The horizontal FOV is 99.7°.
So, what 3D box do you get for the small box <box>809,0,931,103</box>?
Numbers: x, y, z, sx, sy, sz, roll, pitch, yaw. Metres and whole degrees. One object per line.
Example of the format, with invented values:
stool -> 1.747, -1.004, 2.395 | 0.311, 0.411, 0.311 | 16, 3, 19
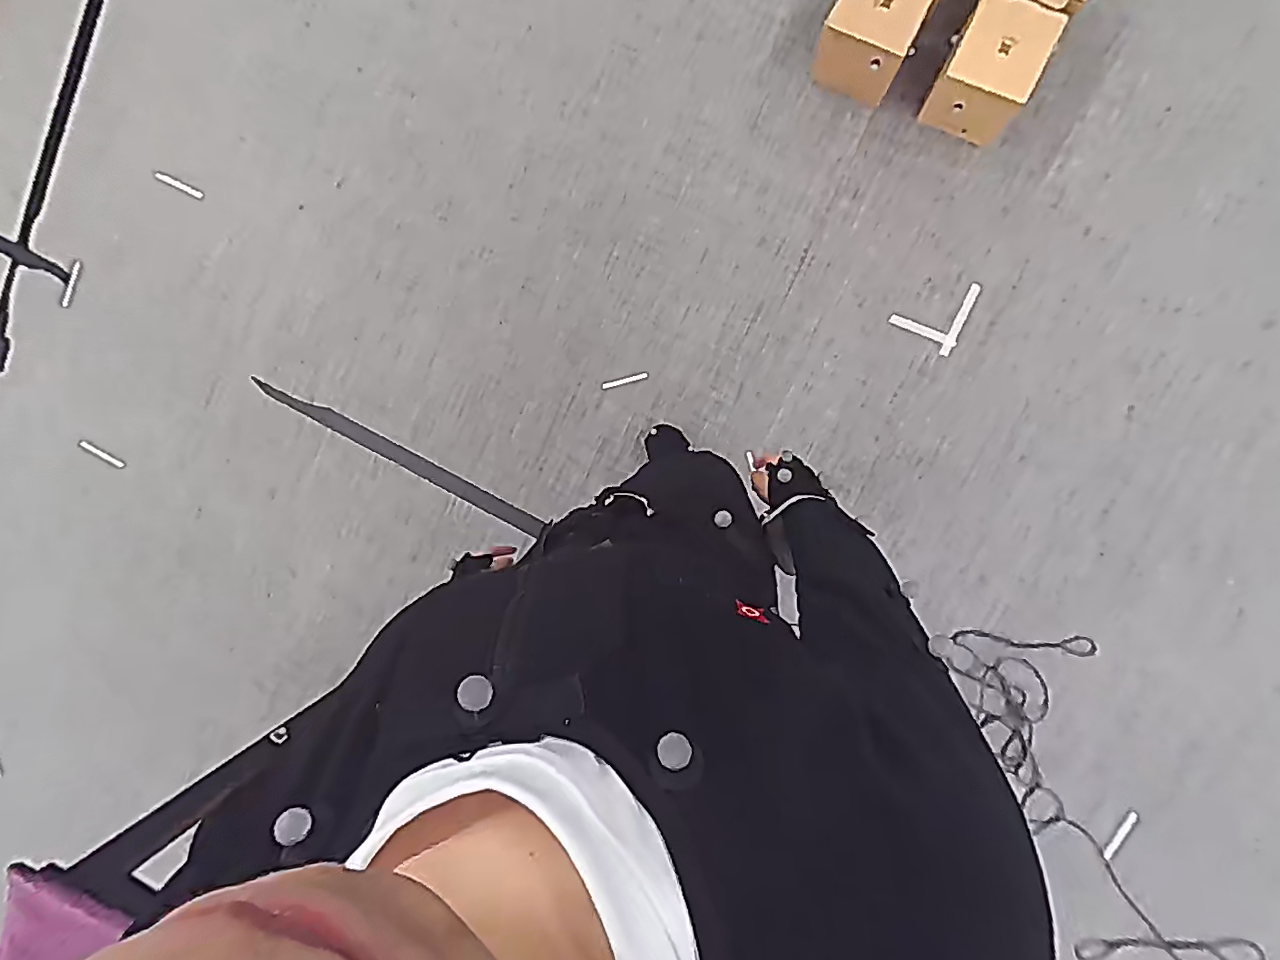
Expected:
small box -> 0.488, -0.955, 1.158 | 0.179, 0.176, 0.168 | 27, 97, 5
